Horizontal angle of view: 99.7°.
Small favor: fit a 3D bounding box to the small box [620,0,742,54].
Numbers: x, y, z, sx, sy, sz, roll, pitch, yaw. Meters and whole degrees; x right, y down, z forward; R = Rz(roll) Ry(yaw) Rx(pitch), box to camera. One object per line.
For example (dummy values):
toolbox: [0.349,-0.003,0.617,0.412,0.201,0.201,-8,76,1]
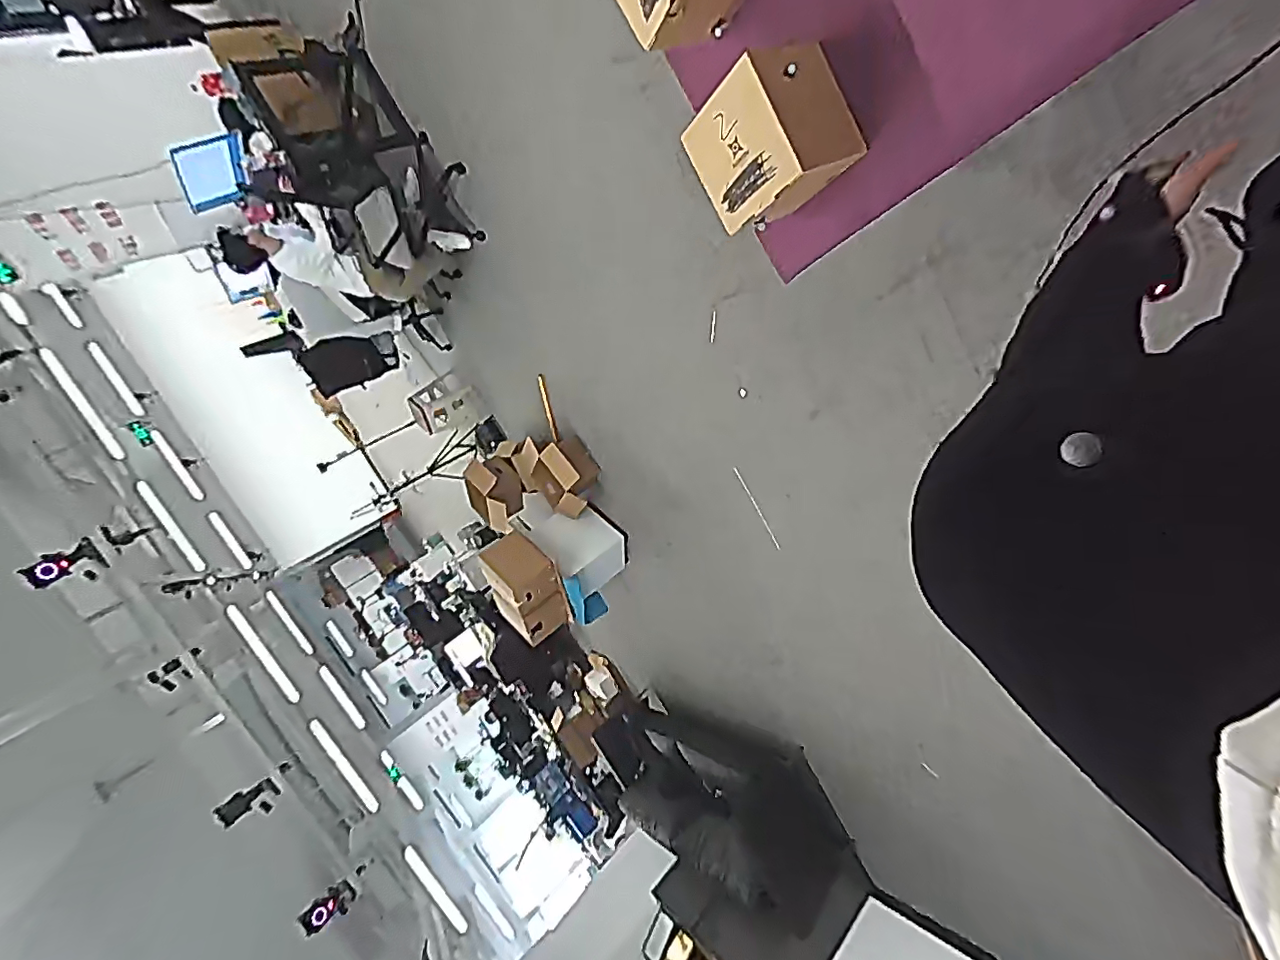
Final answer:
small box: [0.069,-0.782,0.792,0.179,0.176,0.168,59,151,-6]
